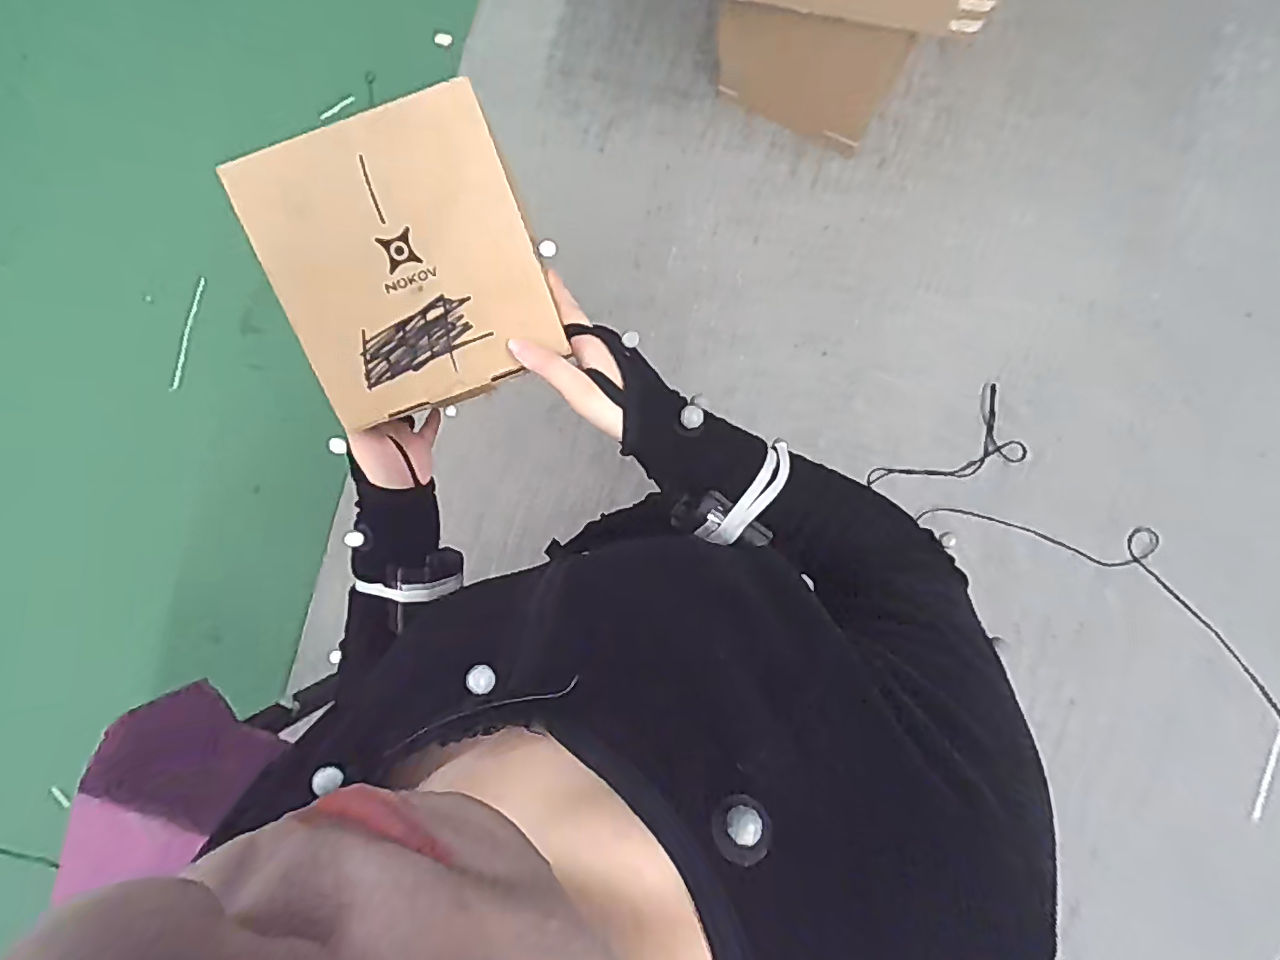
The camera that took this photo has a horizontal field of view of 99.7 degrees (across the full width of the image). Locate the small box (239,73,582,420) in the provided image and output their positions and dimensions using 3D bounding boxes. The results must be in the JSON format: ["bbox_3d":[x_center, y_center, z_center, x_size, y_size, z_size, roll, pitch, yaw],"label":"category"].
[{"bbox_3d":[-0.149,-0.164,0.428,0.168,0.176,0.179,-19,104,0],"label":"small box"}]
